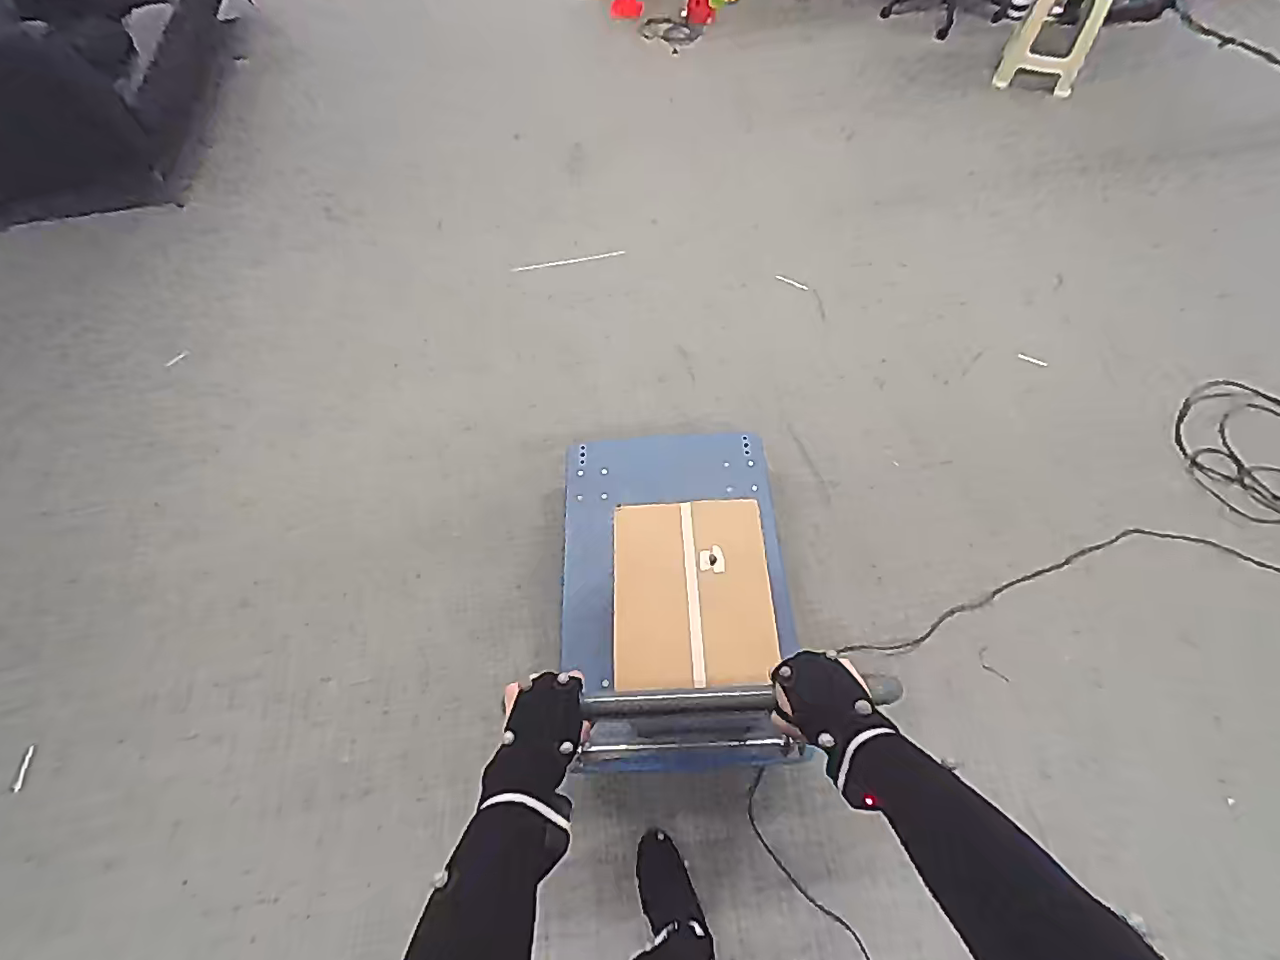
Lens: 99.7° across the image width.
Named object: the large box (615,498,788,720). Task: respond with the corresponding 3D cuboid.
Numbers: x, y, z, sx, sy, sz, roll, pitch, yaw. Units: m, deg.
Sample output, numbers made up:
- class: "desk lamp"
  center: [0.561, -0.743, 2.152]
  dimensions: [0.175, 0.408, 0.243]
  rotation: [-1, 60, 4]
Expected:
- class: "large box"
  center: [0.116, 0.292, 1.196]
  dimensions: [0.320, 0.320, 0.408]
  rotation: [-2, 60, 2]
